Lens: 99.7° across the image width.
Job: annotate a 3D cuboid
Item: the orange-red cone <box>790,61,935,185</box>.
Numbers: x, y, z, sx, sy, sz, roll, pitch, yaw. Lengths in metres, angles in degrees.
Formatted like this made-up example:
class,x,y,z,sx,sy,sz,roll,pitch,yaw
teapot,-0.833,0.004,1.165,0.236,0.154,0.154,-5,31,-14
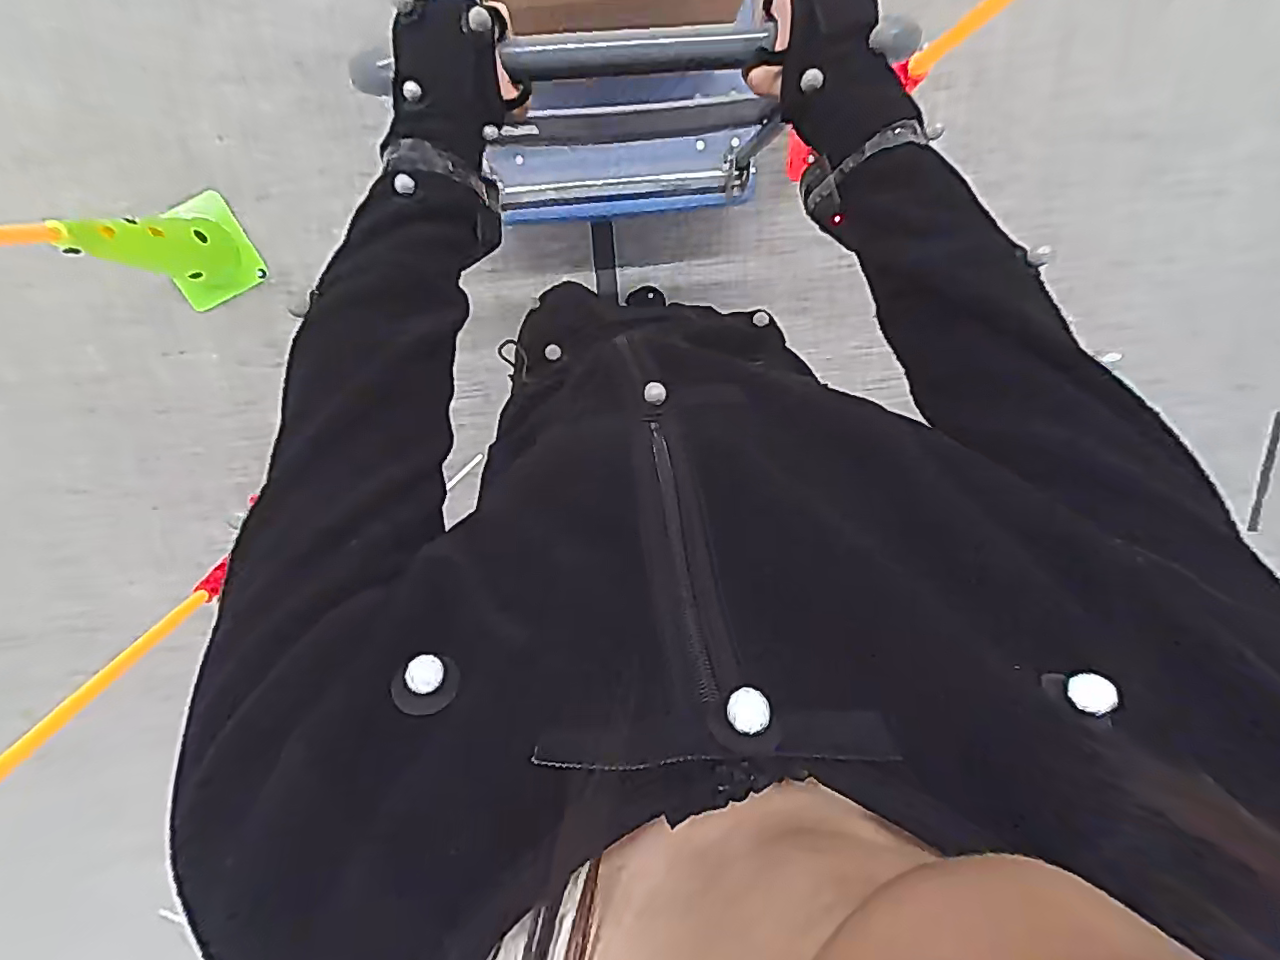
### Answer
class,x,y,z,sx,sy,sz,roll,pitch,yaw
orange-red cone,0.455,-0.723,1.052,0.199,0.360,0.198,0,108,-5
